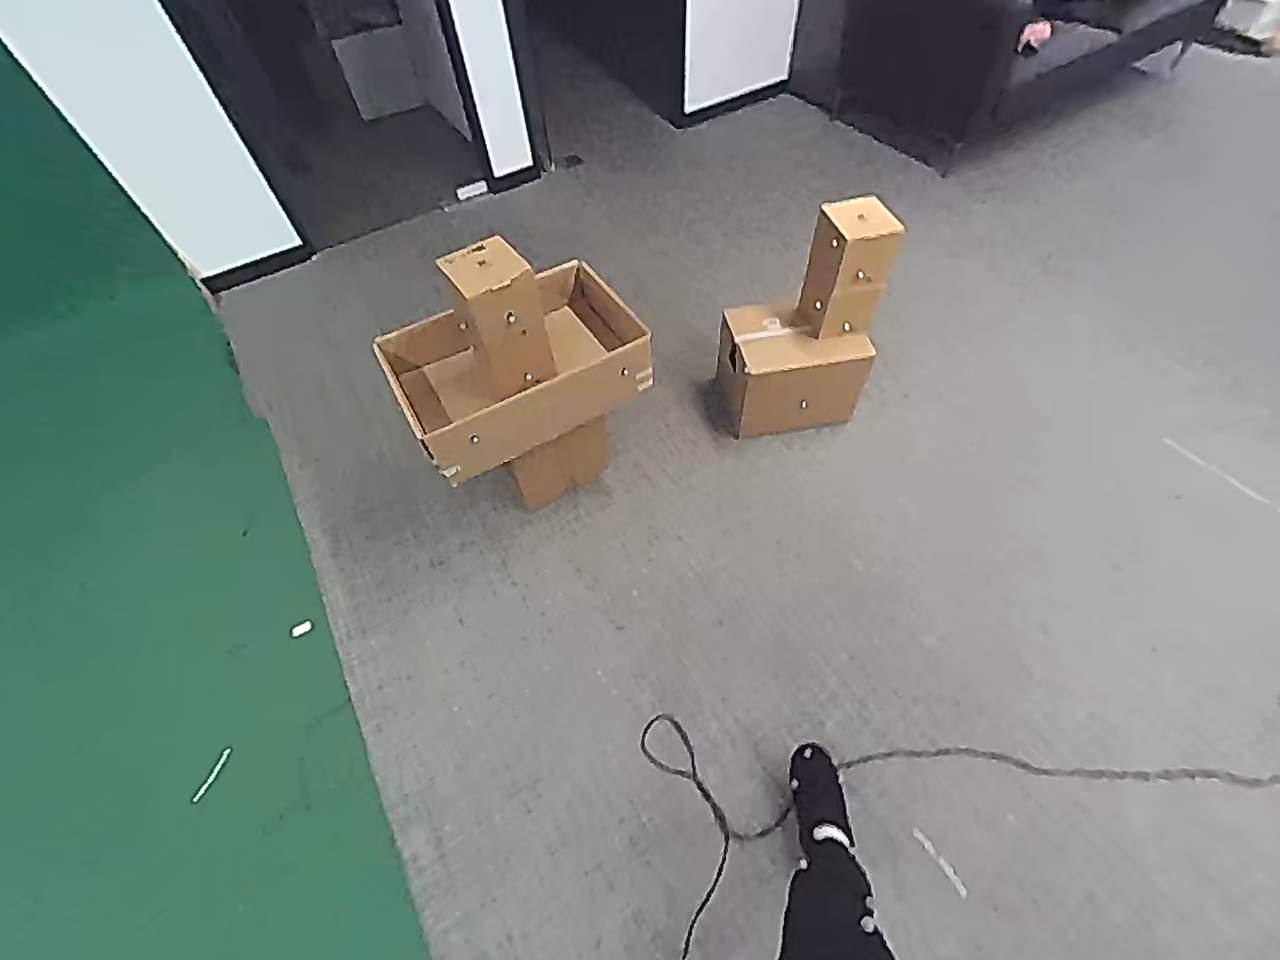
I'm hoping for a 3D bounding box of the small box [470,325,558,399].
[{"bbox_3d":[-0.334,-0.348,1.427,0.168,0.176,0.179,-29,60,-16],"label":"small box"}]

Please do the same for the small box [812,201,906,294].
[{"bbox_3d":[0.606,-0.655,1.528,0.168,0.176,0.179,-12,56,-6],"label":"small box"}]

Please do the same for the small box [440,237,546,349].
[{"bbox_3d":[-0.344,-0.438,1.290,0.168,0.176,0.179,-31,61,-18],"label":"small box"}]
